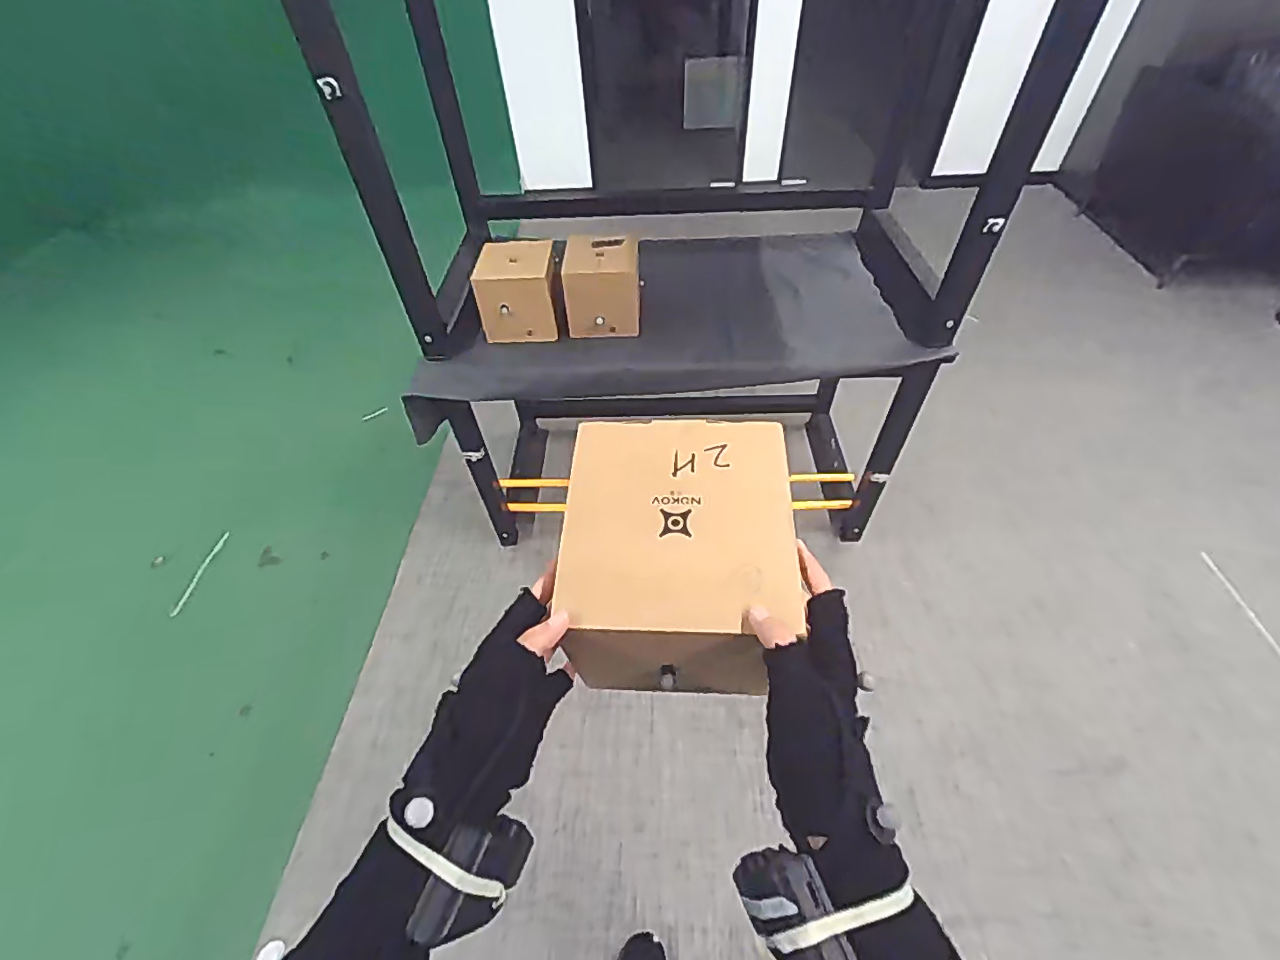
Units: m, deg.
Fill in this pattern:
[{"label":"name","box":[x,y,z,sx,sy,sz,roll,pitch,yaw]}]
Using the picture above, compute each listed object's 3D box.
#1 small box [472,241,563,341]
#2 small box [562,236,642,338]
[{"label":"small box","box":[-0.280,-0.442,1.279,0.168,0.176,0.179,-1,48,1]},{"label":"small box","box":[-0.084,-0.456,1.281,0.168,0.176,0.179,-1,49,3]}]
